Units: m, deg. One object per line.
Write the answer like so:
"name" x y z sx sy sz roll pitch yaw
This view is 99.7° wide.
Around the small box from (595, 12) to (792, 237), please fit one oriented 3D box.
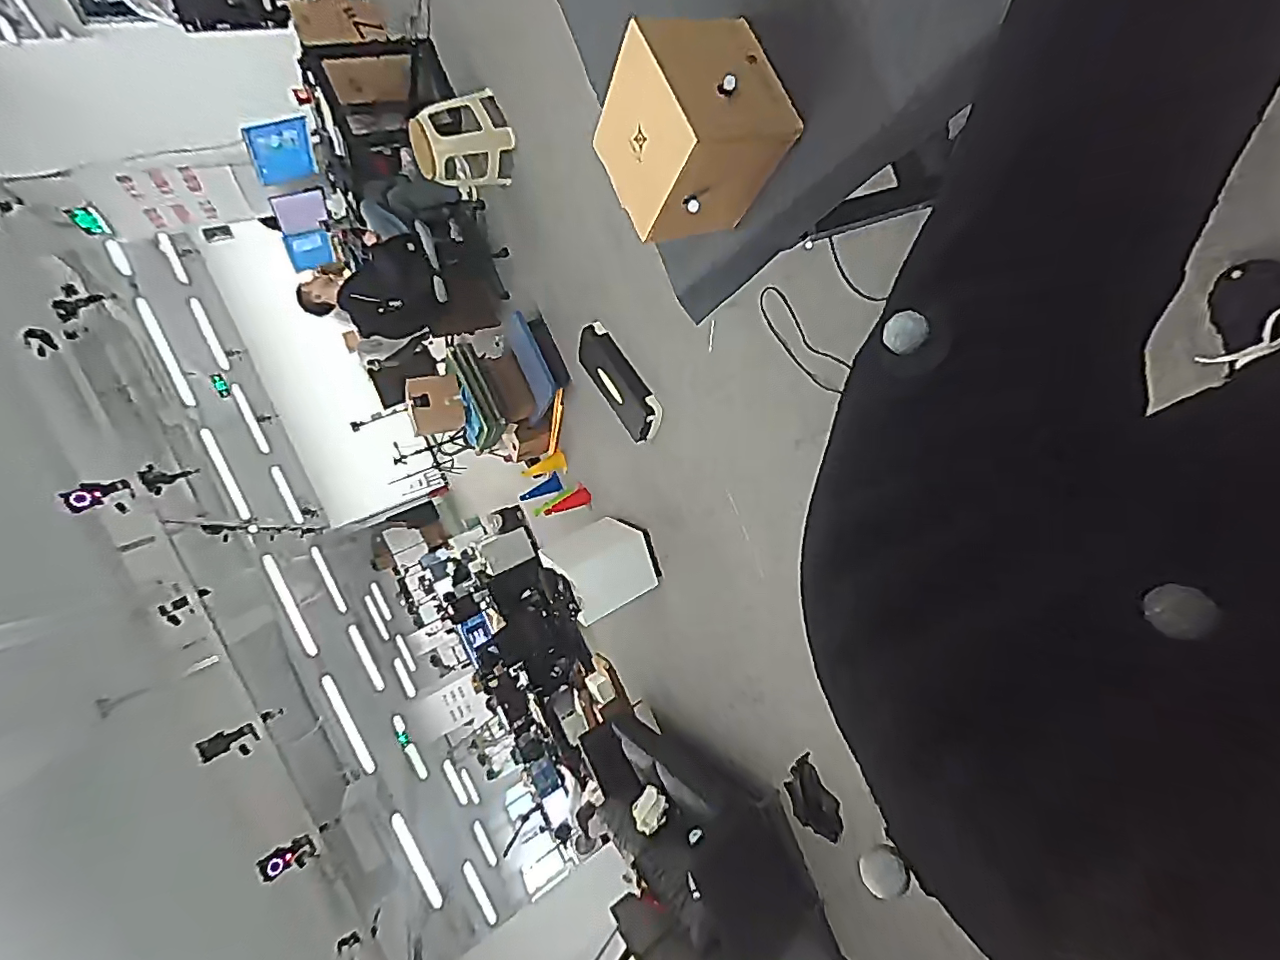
"small box" 0.069 -0.451 0.693 0.168 0.176 0.179 64 156 5
